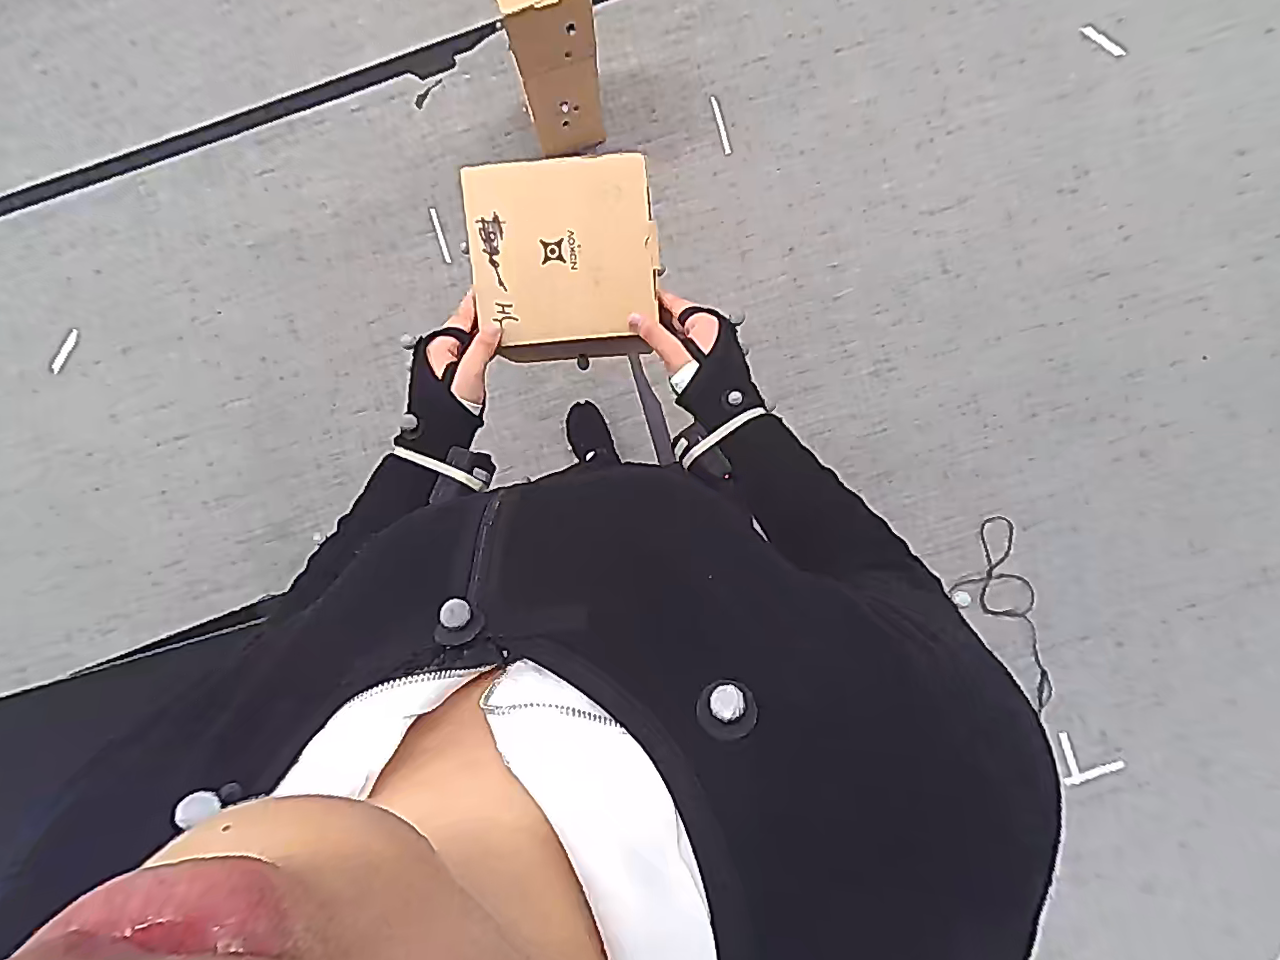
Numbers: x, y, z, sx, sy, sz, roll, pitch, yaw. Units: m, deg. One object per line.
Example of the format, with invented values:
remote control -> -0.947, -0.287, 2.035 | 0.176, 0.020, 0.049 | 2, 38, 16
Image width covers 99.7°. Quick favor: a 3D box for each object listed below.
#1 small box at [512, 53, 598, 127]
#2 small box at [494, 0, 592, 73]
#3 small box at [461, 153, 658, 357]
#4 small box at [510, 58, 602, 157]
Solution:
small box -> -0.197, -0.928, 1.187 | 0.168, 0.176, 0.179 | -17, 95, 1
small box -> -0.194, -0.919, 1.025 | 0.168, 0.176, 0.179 | -18, 93, 0
small box -> -0.078, -0.229, 0.589 | 0.179, 0.176, 0.168 | -5, 97, -2
small box -> -0.202, -0.943, 1.350 | 0.179, 0.176, 0.168 | -17, 94, 0
